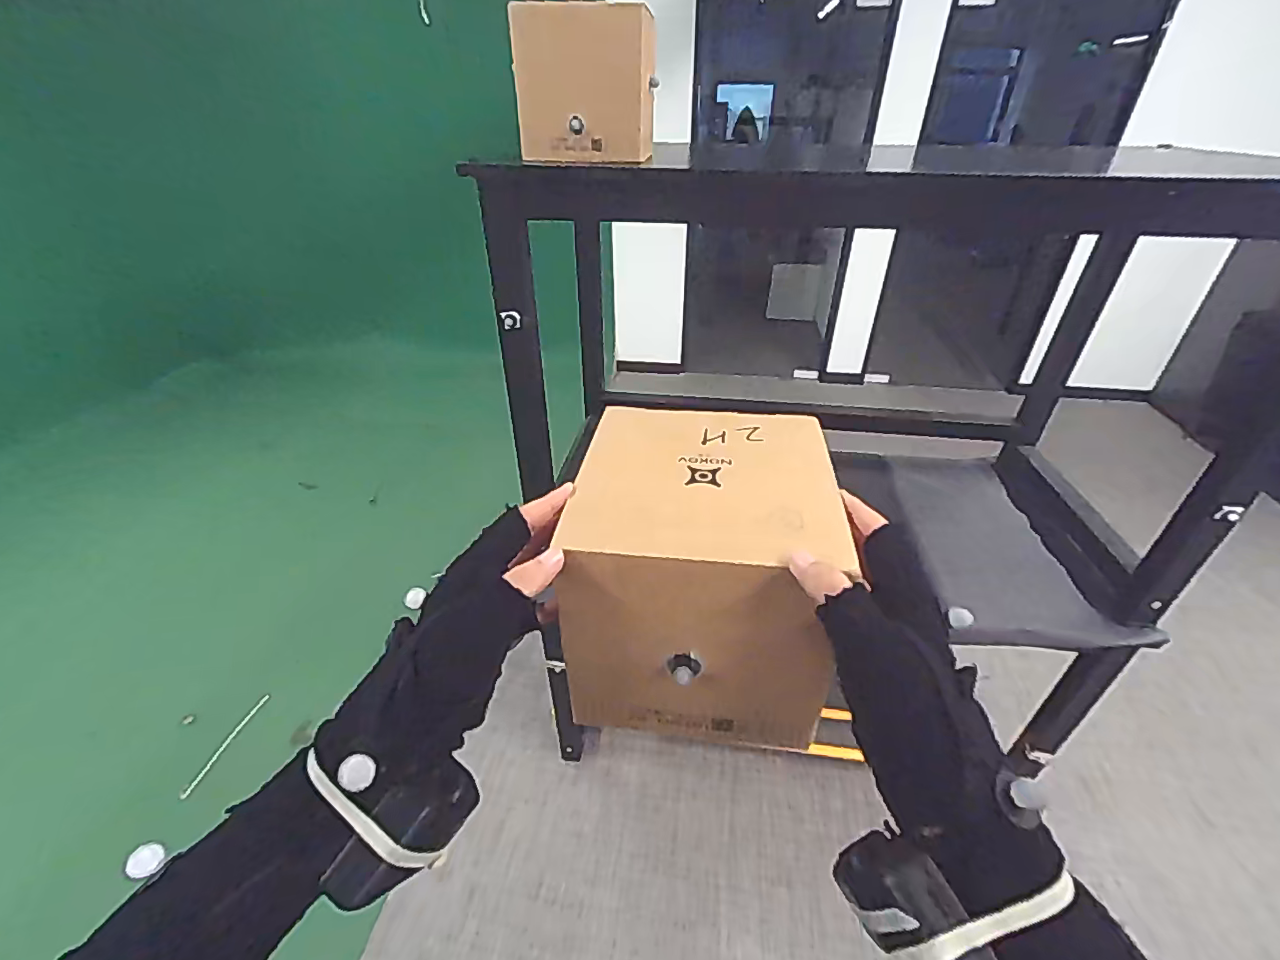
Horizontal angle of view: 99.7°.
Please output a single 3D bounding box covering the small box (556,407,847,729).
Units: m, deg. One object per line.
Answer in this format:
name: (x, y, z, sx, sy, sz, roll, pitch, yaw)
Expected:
small box: (0.046, 0.060, 0.410, 0.168, 0.176, 0.179, 4, 33, 7)
